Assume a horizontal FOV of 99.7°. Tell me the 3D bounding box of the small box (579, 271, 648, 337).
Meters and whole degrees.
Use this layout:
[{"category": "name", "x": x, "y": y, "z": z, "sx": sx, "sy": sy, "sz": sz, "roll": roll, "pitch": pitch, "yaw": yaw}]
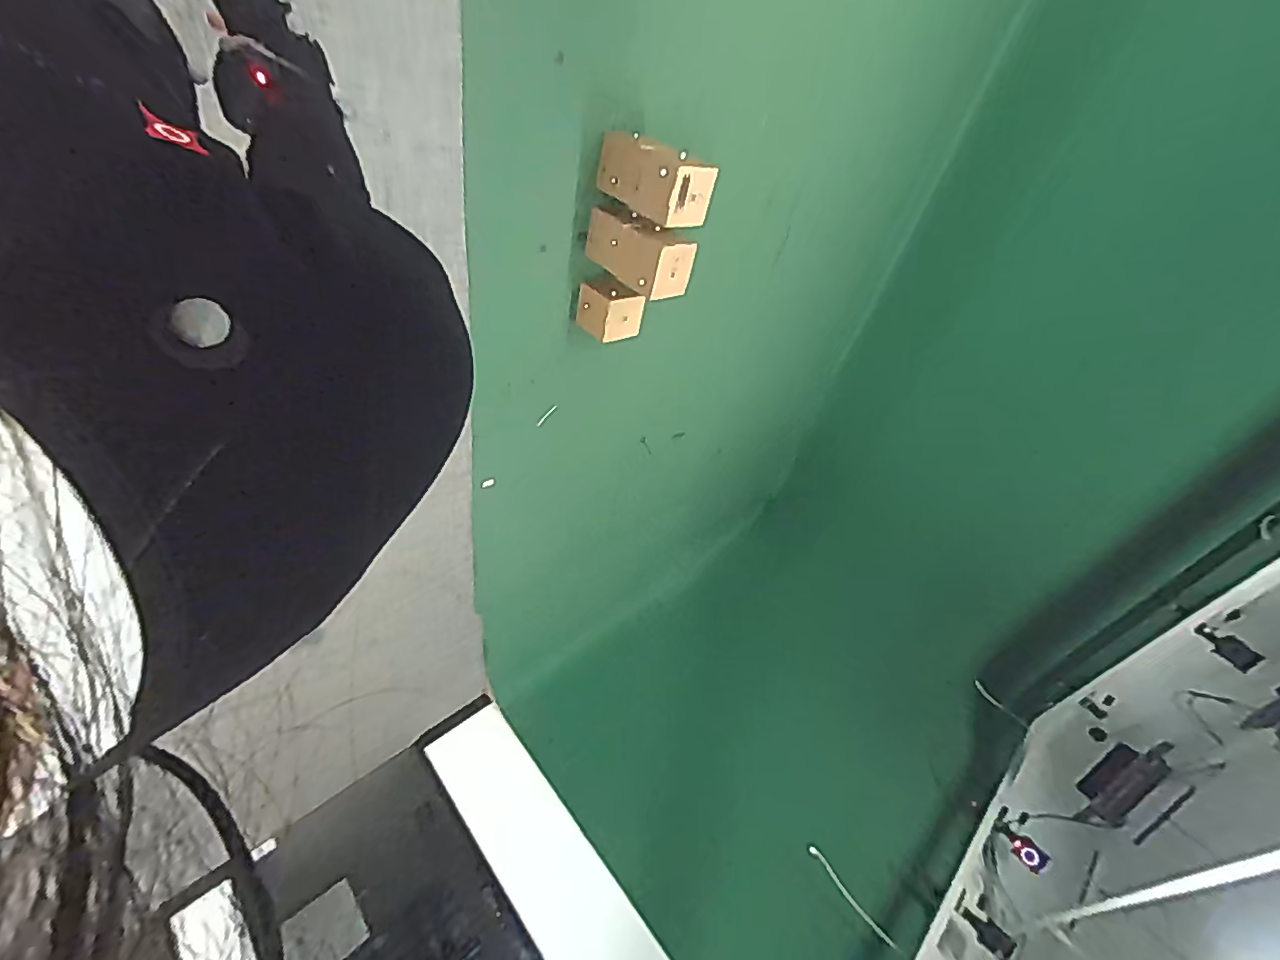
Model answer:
[{"category": "small box", "x": -0.101, "y": -0.657, "z": 1.998, "sx": 0.179, "sy": 0.176, "sz": 0.168, "roll": -25, "pitch": 145, "yaw": -36}]
